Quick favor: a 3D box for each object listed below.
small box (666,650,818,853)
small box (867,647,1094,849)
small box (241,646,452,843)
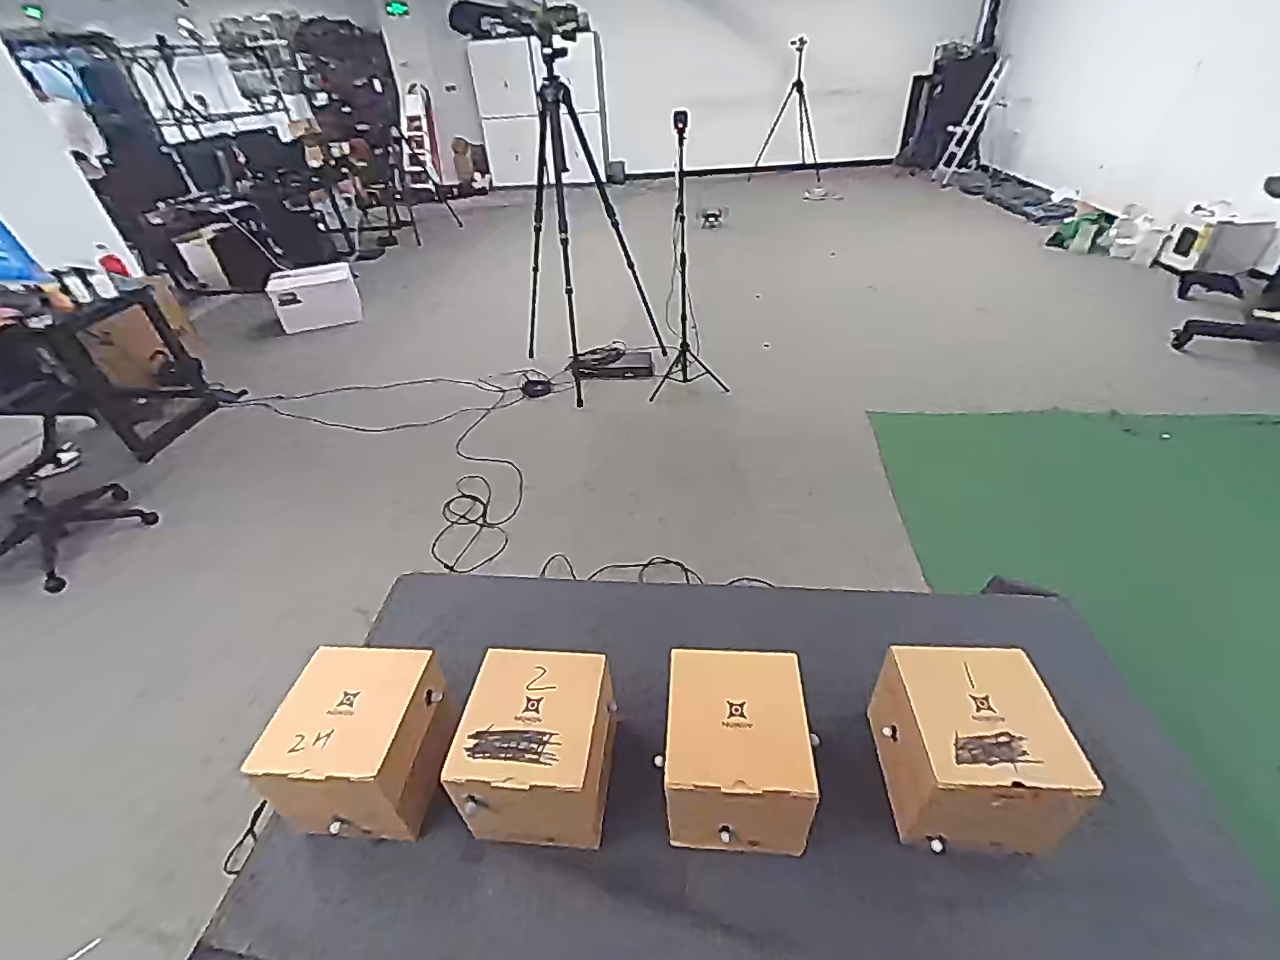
[{"bbox_3d":[0.119,0.345,0.695,0.168,0.176,0.179,0,38,5],"label":"small box"},{"bbox_3d":[0.401,0.334,0.678,0.168,0.176,0.179,0,37,5],"label":"small box"},{"bbox_3d":[-0.368,0.349,0.723,0.168,0.176,0.179,1,37,4],"label":"small box"}]
